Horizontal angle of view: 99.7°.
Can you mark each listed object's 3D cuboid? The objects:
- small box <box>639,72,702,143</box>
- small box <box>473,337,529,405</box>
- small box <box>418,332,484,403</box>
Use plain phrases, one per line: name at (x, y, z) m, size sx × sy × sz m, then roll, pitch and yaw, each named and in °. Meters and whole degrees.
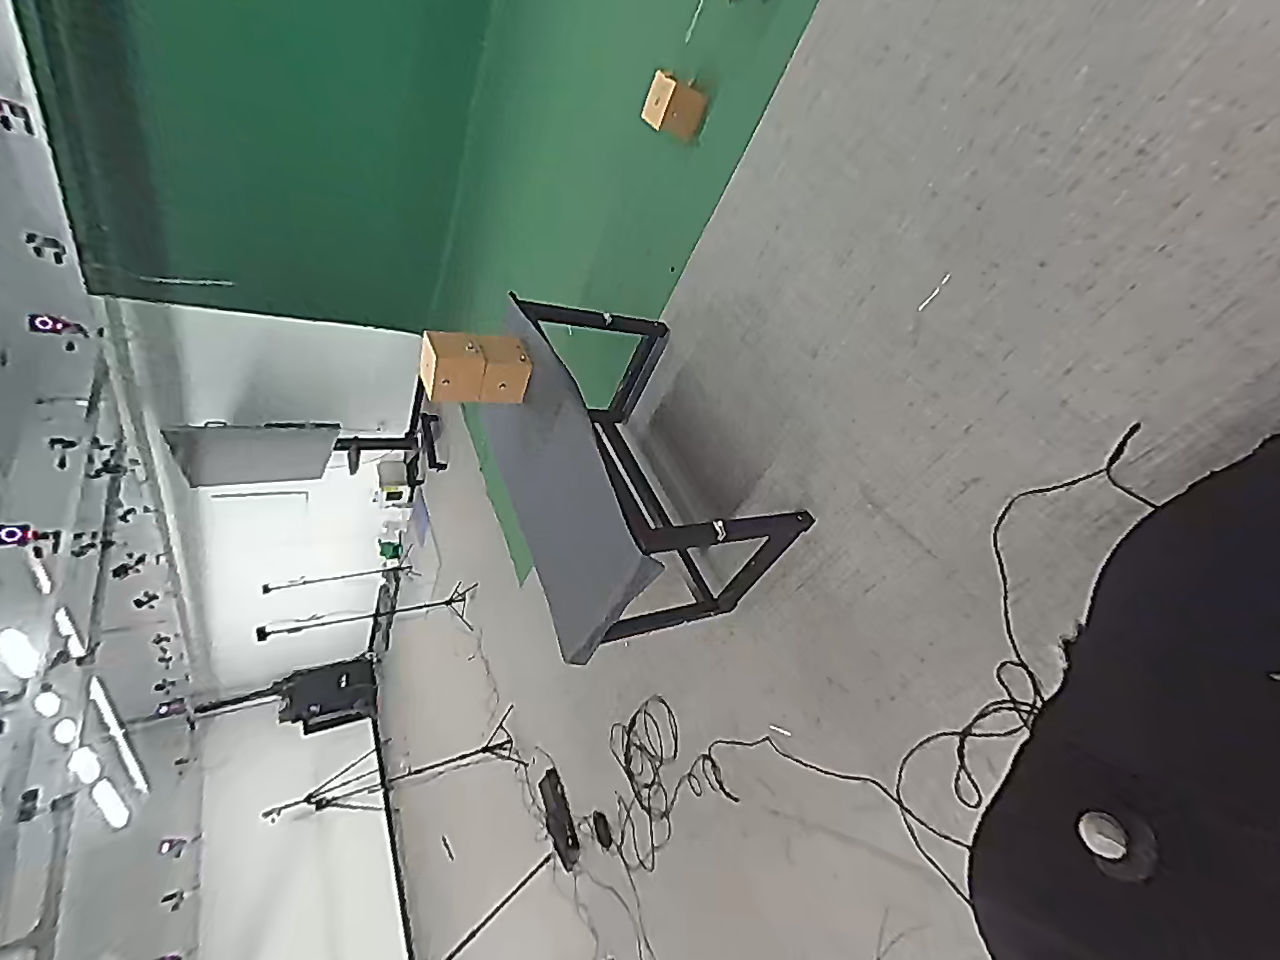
small box at (0.127, -1.519, 2.214) m, size 0.168 × 0.176 × 0.179 m, roll 59°, pitch 135°, yaw 32°
small box at (-0.508, -0.385, 1.922) m, size 0.168 × 0.176 × 0.179 m, roll 59°, pitch 139°, yaw 32°
small box at (-0.639, -0.376, 1.827) m, size 0.168 × 0.176 × 0.179 m, roll 55°, pitch 135°, yaw 34°
